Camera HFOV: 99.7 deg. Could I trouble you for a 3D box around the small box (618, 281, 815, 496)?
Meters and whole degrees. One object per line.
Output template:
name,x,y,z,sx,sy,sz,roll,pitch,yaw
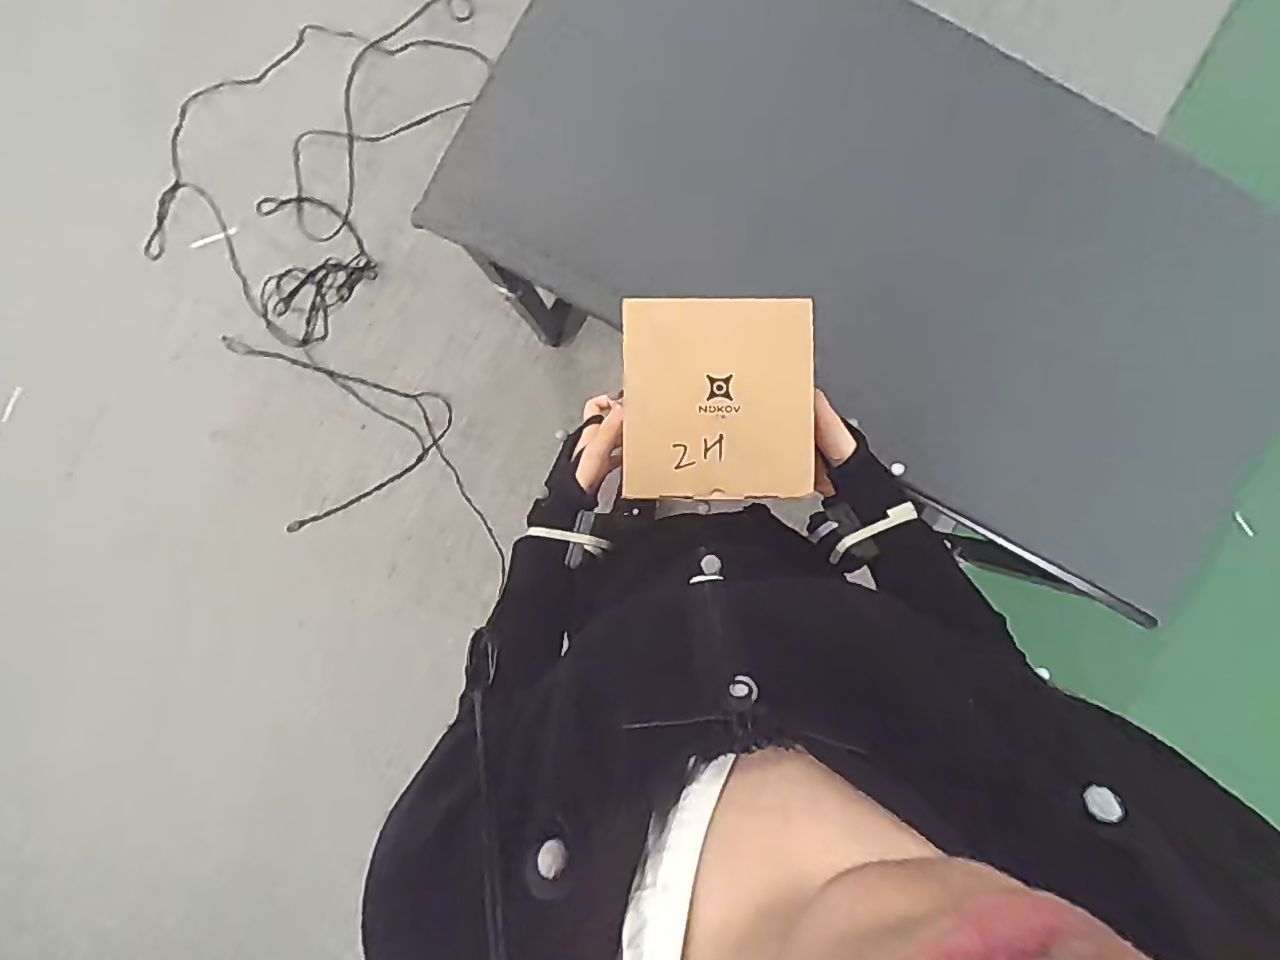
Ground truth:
small box,0.065,-0.076,0.535,0.168,0.176,0.179,1,87,1
